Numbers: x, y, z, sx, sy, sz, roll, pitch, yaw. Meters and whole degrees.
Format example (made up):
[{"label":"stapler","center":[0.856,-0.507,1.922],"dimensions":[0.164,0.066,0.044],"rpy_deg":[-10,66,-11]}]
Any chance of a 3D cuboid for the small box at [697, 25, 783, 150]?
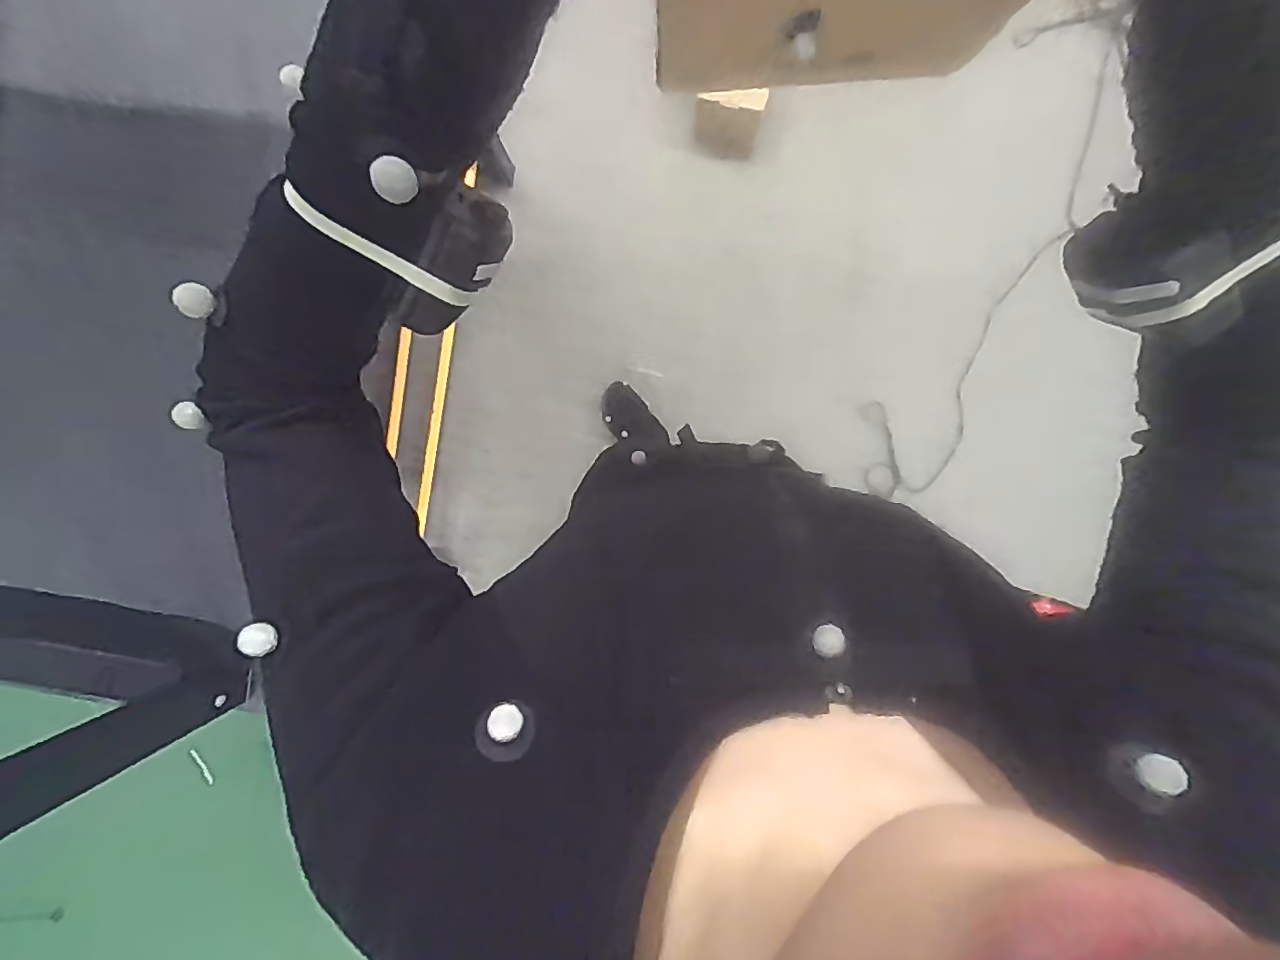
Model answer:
[{"label":"small box","center":[0.243,-0.980,1.363],"dimensions":[0.168,0.176,0.179],"rpy_deg":[15,93,3]}]
